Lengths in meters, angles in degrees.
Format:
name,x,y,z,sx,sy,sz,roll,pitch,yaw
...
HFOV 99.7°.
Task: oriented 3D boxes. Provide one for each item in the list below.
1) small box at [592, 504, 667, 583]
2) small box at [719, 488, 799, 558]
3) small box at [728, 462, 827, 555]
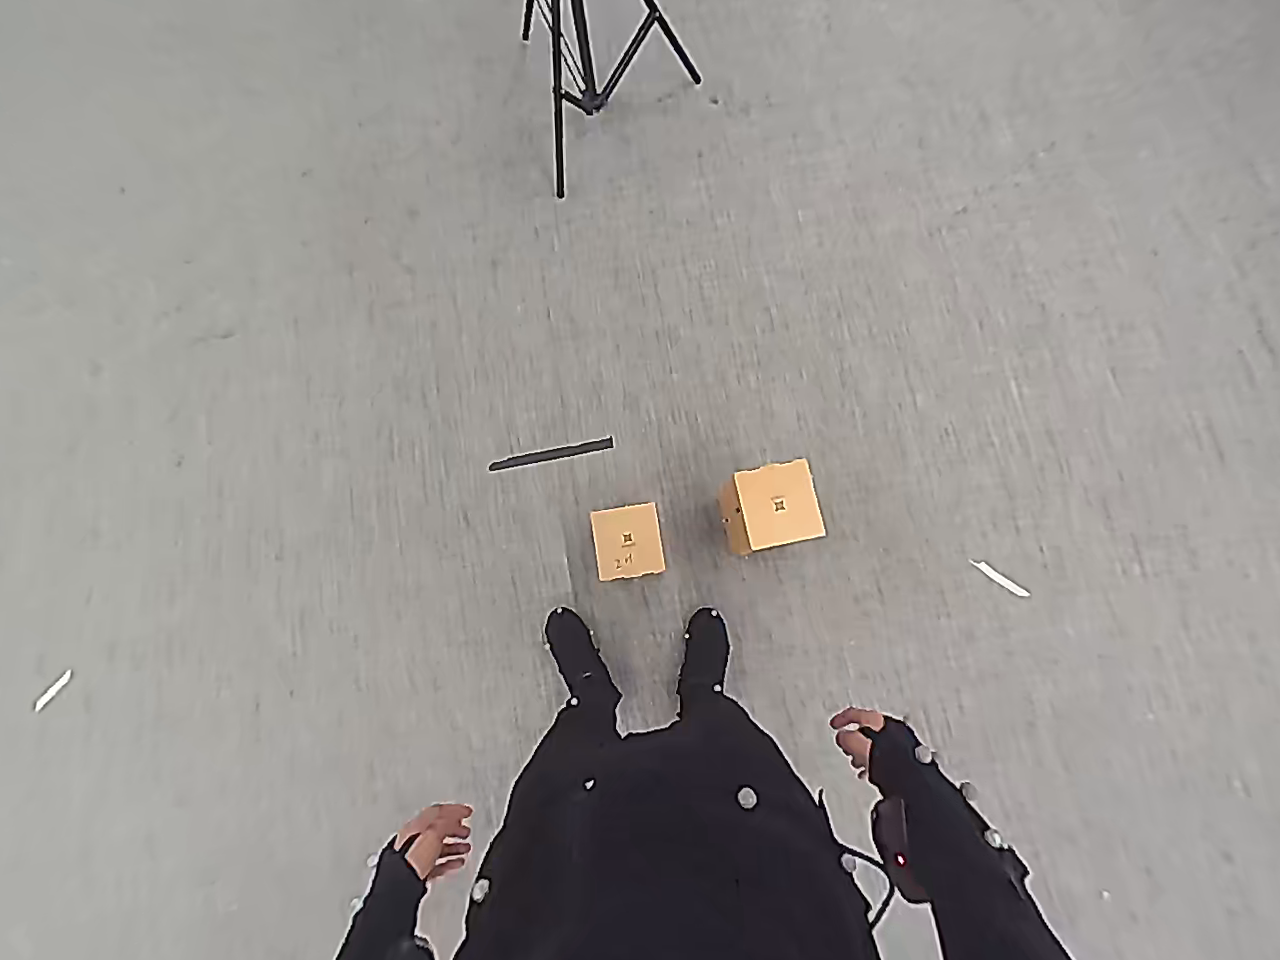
name,x,y,z,sx,sy,sz,roll,pitch,yaw
small box,-0.026,0.170,1.396,0.168,0.176,0.179,-9,80,1
small box,0.308,0.103,1.394,0.168,0.176,0.179,-12,78,0
small box,0.305,0.073,1.235,0.168,0.176,0.179,-12,78,0
